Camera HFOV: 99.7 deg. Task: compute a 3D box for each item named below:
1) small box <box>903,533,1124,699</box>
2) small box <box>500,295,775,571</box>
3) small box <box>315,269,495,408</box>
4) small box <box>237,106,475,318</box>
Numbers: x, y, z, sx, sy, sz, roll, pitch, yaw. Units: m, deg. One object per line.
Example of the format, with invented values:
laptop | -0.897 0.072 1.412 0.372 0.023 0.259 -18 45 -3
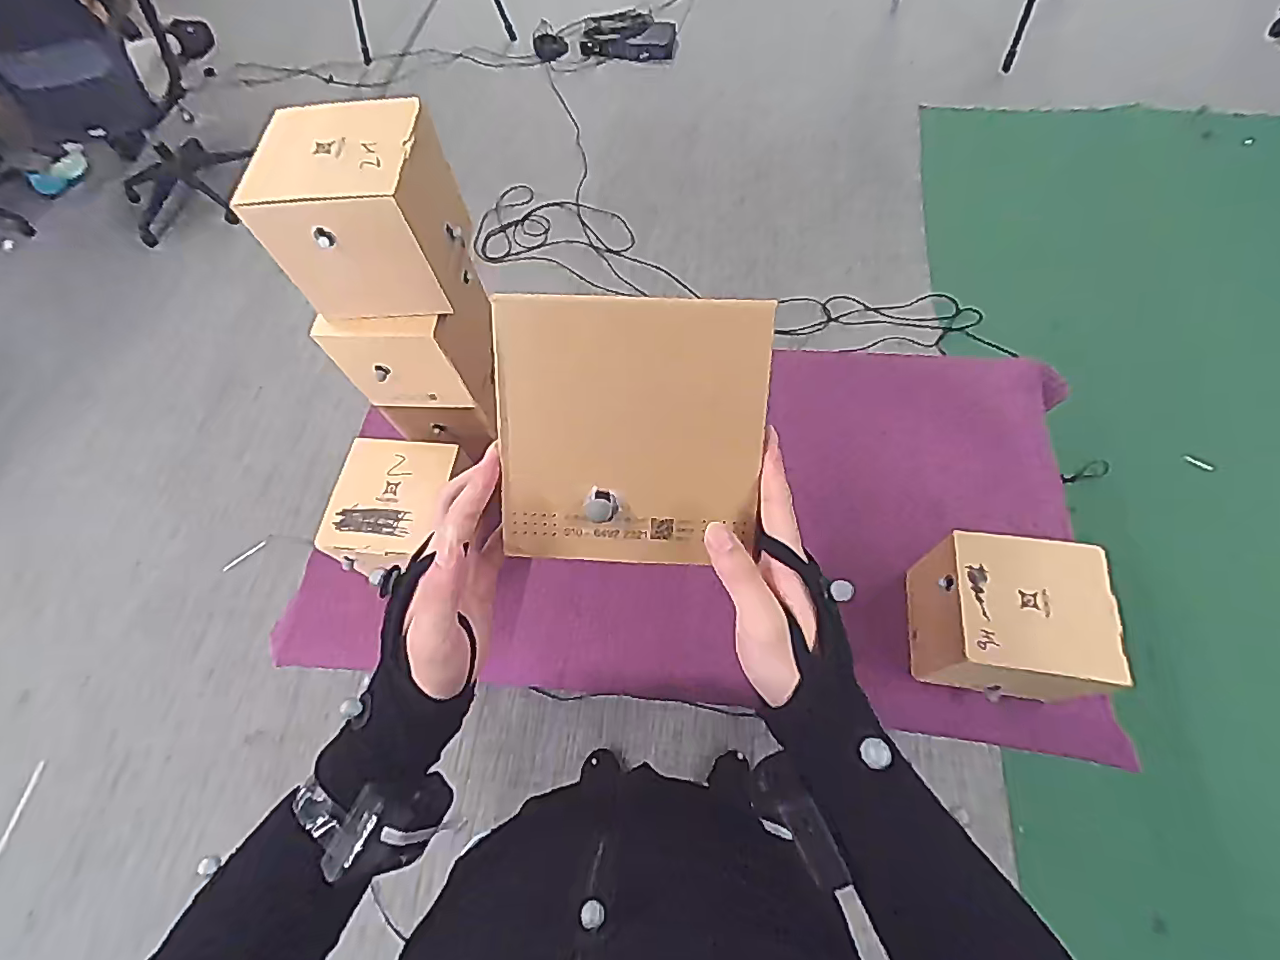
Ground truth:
small box | 0.472 0.186 0.716 0.179 0.176 0.168 7 63 8
small box | -0.002 -0.045 0.415 0.168 0.179 0.176 2 106 1
small box | -0.326 -0.219 0.792 0.168 0.176 0.179 2 64 5
small box | -0.322 -0.314 0.655 0.179 0.176 0.168 -1 64 3
